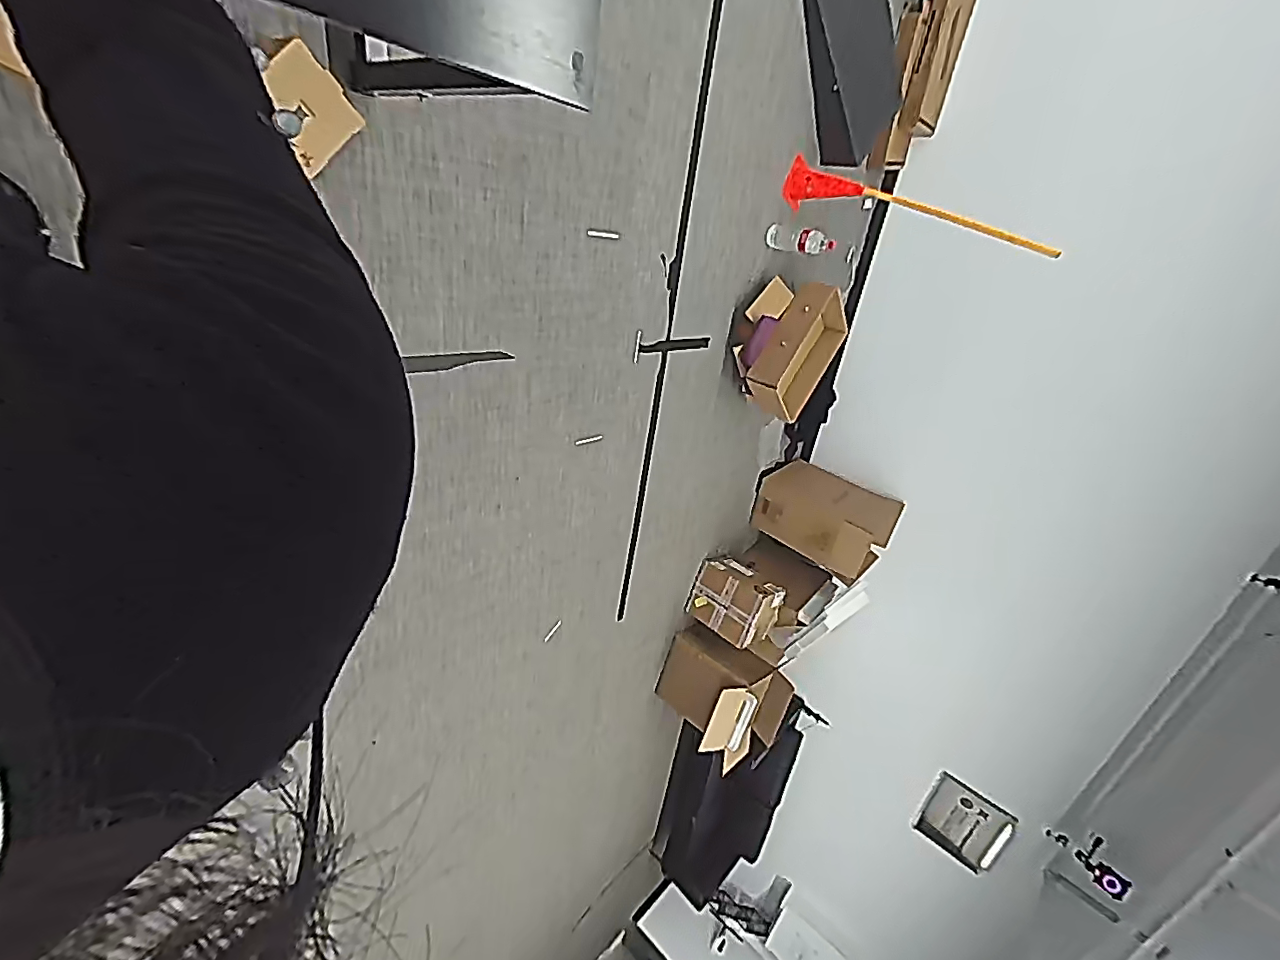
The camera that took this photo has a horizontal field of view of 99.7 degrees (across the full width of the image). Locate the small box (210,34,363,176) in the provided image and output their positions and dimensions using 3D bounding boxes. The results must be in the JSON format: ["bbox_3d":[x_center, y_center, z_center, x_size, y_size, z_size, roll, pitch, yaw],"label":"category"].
[{"bbox_3d":[-0.707,-0.747,1.081,0.179,0.176,0.168,-55,146,-10],"label":"small box"}]
